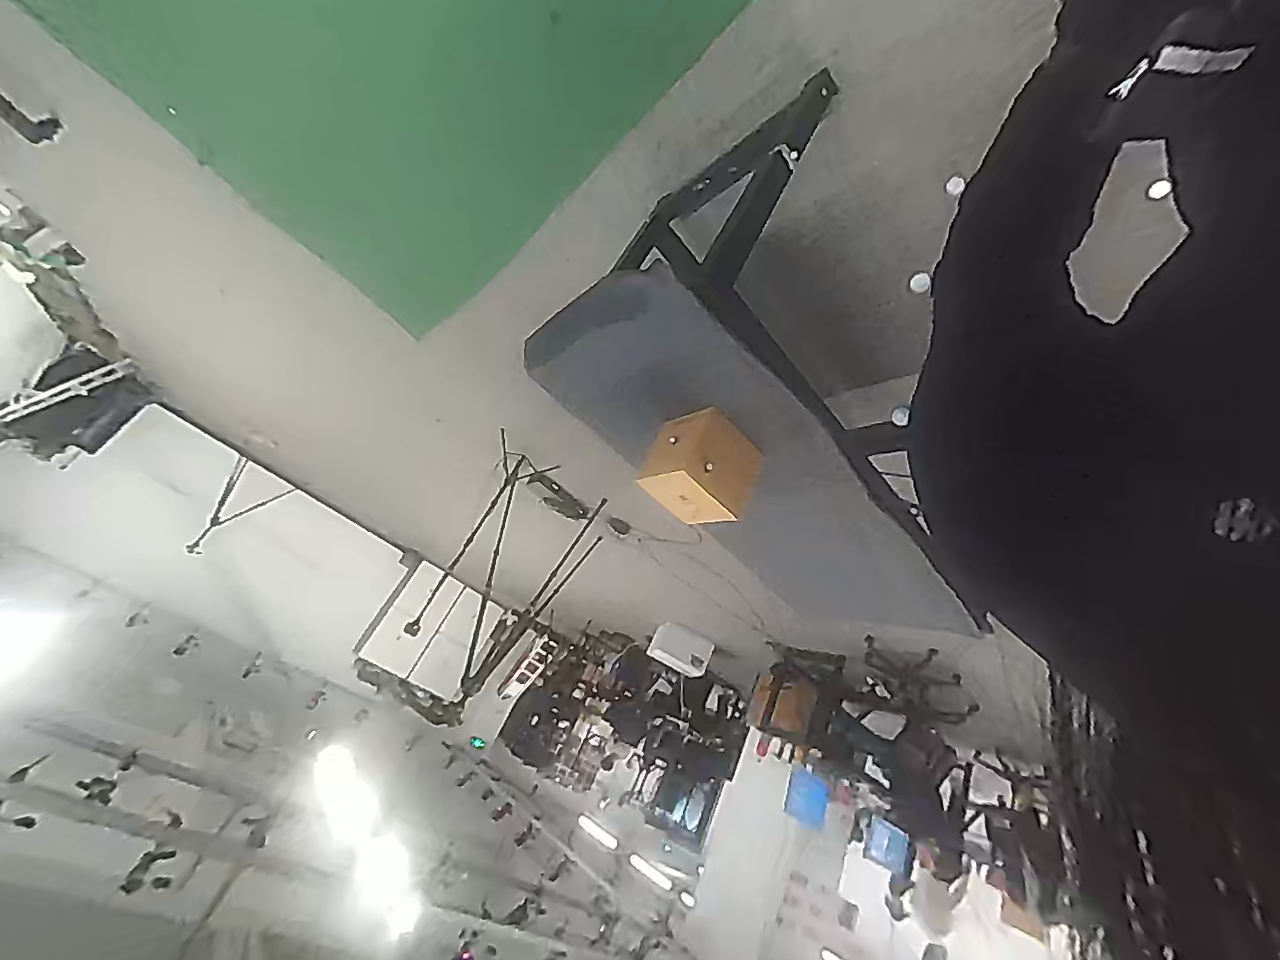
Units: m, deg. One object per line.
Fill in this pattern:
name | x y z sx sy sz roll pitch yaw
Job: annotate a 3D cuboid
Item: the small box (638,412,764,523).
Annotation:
small box | 0.133 -0.028 1.156 0.179 0.176 0.168 40 153 -25
